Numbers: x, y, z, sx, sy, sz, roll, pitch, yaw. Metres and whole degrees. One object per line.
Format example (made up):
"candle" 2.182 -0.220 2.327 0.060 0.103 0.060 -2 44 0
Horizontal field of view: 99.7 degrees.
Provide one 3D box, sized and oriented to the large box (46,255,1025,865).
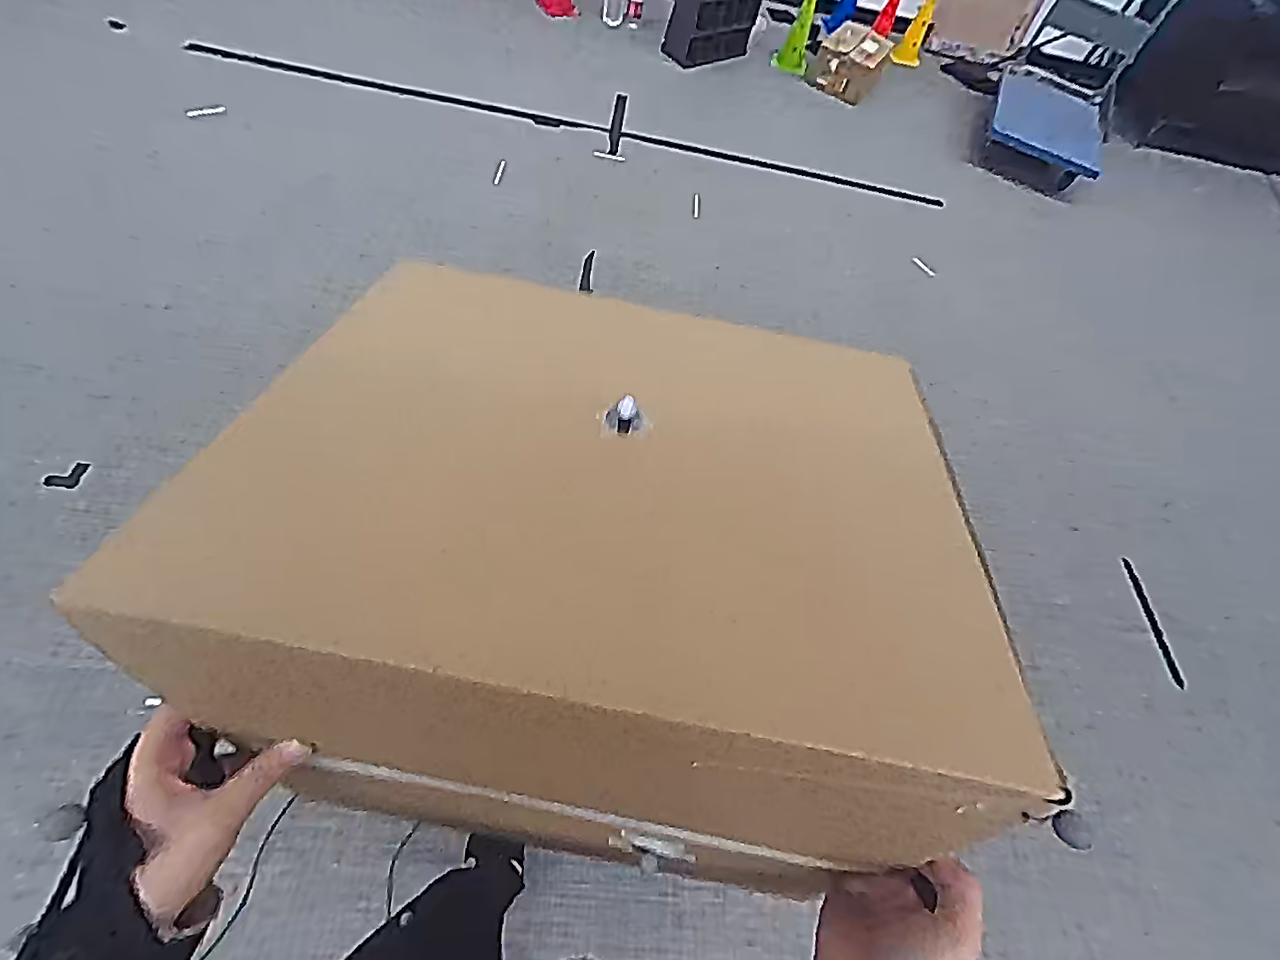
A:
"large box" -0.043 0.063 0.421 0.408 0.320 0.320 10 49 0
